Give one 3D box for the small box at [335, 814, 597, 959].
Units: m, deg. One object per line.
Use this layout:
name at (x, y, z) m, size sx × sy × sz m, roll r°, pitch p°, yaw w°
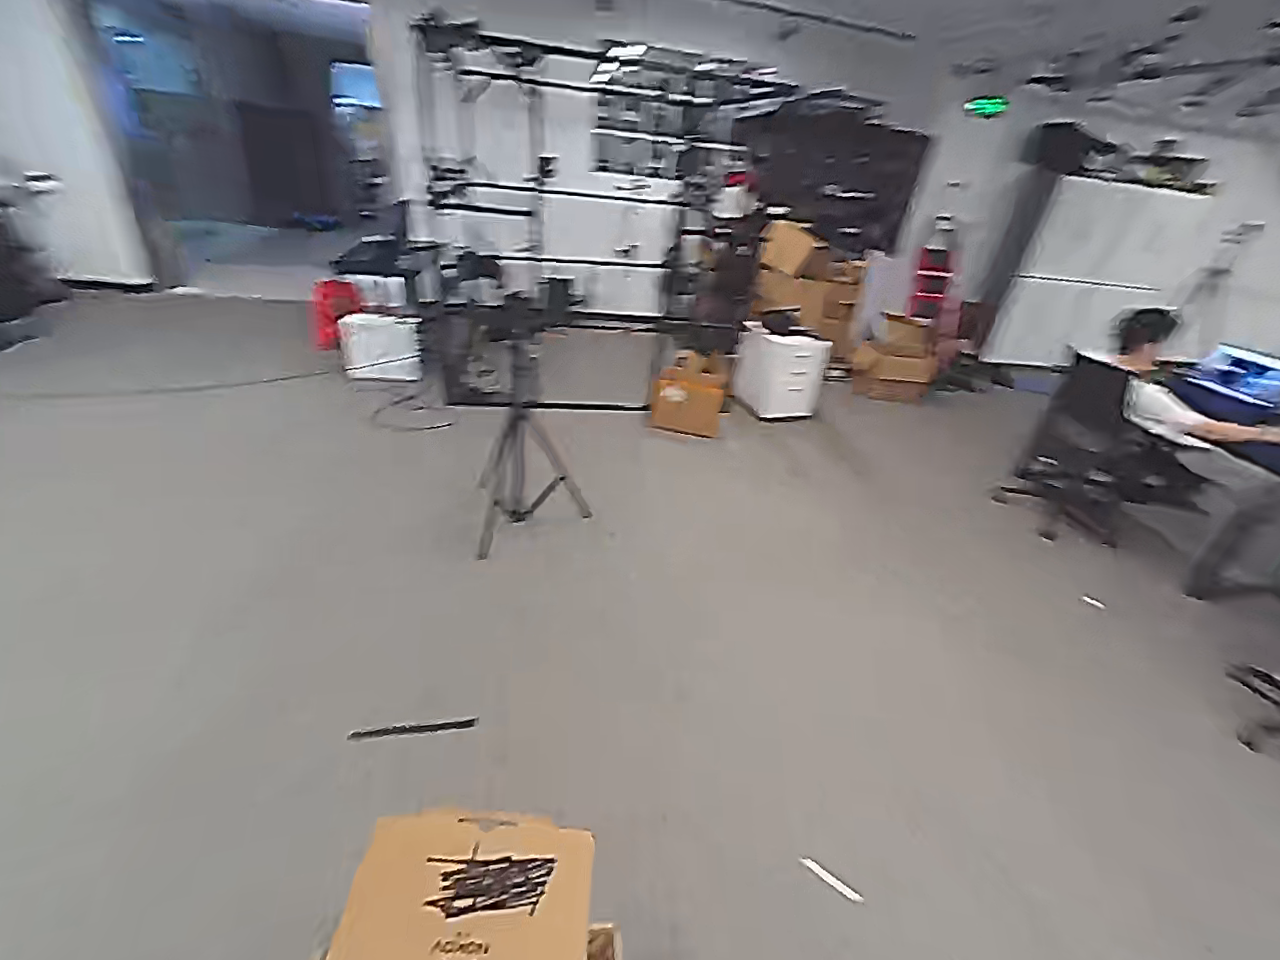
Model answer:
small box at (-0.128, 0.380, 0.391) m, size 0.168 × 0.176 × 0.179 m, roll 8°, pitch 33°, yaw -7°
